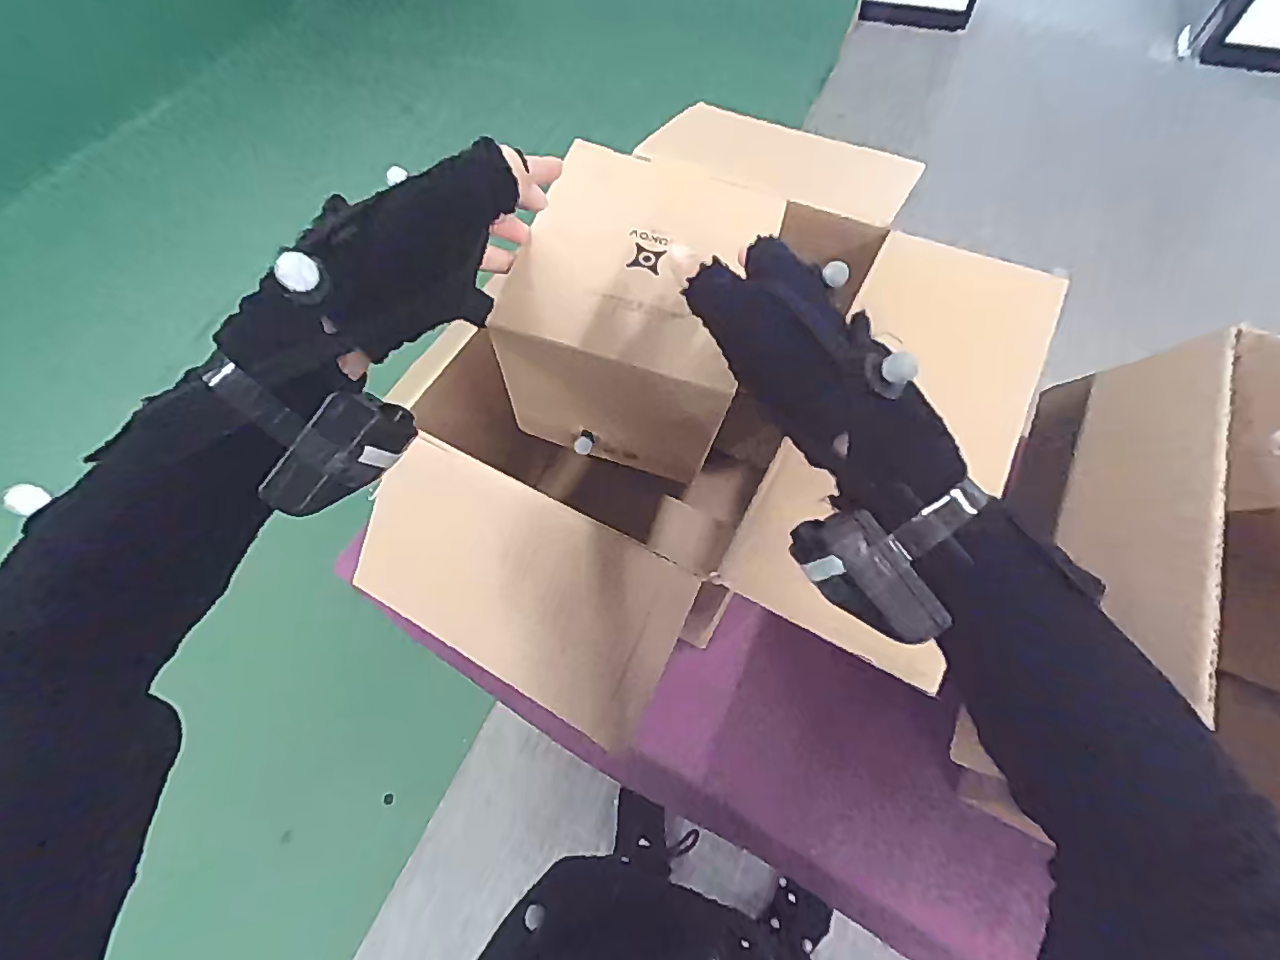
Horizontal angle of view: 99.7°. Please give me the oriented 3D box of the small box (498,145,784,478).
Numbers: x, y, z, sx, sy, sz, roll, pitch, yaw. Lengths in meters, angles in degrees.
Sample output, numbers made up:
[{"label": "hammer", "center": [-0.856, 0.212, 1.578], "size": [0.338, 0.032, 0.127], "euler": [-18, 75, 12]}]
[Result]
[{"label": "small box", "center": [0.002, -0.127, 0.454], "size": [0.168, 0.176, 0.179], "euler": [18, 69, 3]}]
